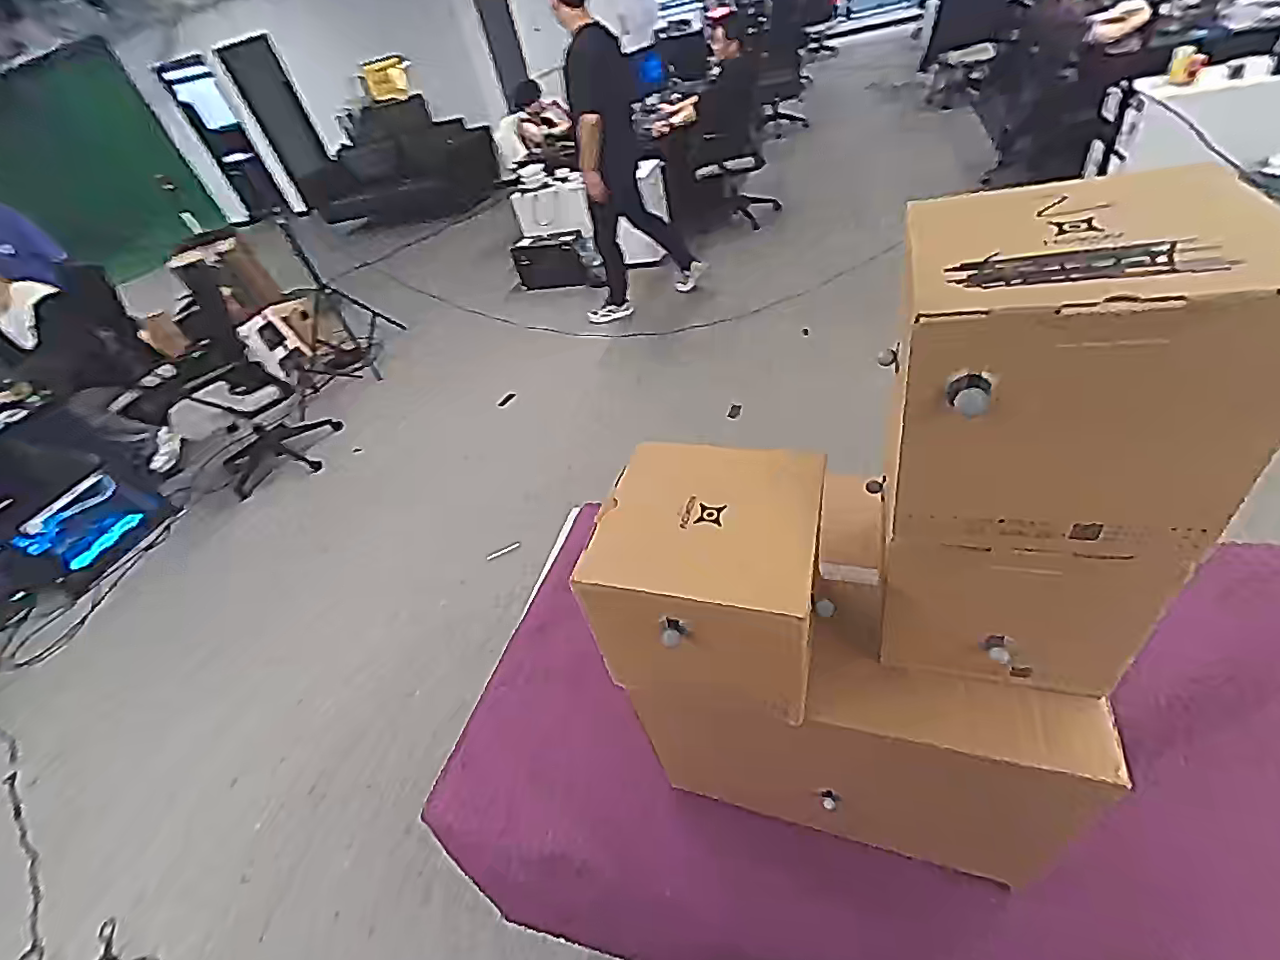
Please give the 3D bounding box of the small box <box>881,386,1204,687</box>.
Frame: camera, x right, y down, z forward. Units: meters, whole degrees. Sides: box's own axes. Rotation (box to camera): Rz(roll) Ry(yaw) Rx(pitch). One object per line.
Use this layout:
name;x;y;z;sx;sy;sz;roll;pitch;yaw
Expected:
small box;0.295;0.040;0.450;0.168;0.176;0.179;2;44;22
